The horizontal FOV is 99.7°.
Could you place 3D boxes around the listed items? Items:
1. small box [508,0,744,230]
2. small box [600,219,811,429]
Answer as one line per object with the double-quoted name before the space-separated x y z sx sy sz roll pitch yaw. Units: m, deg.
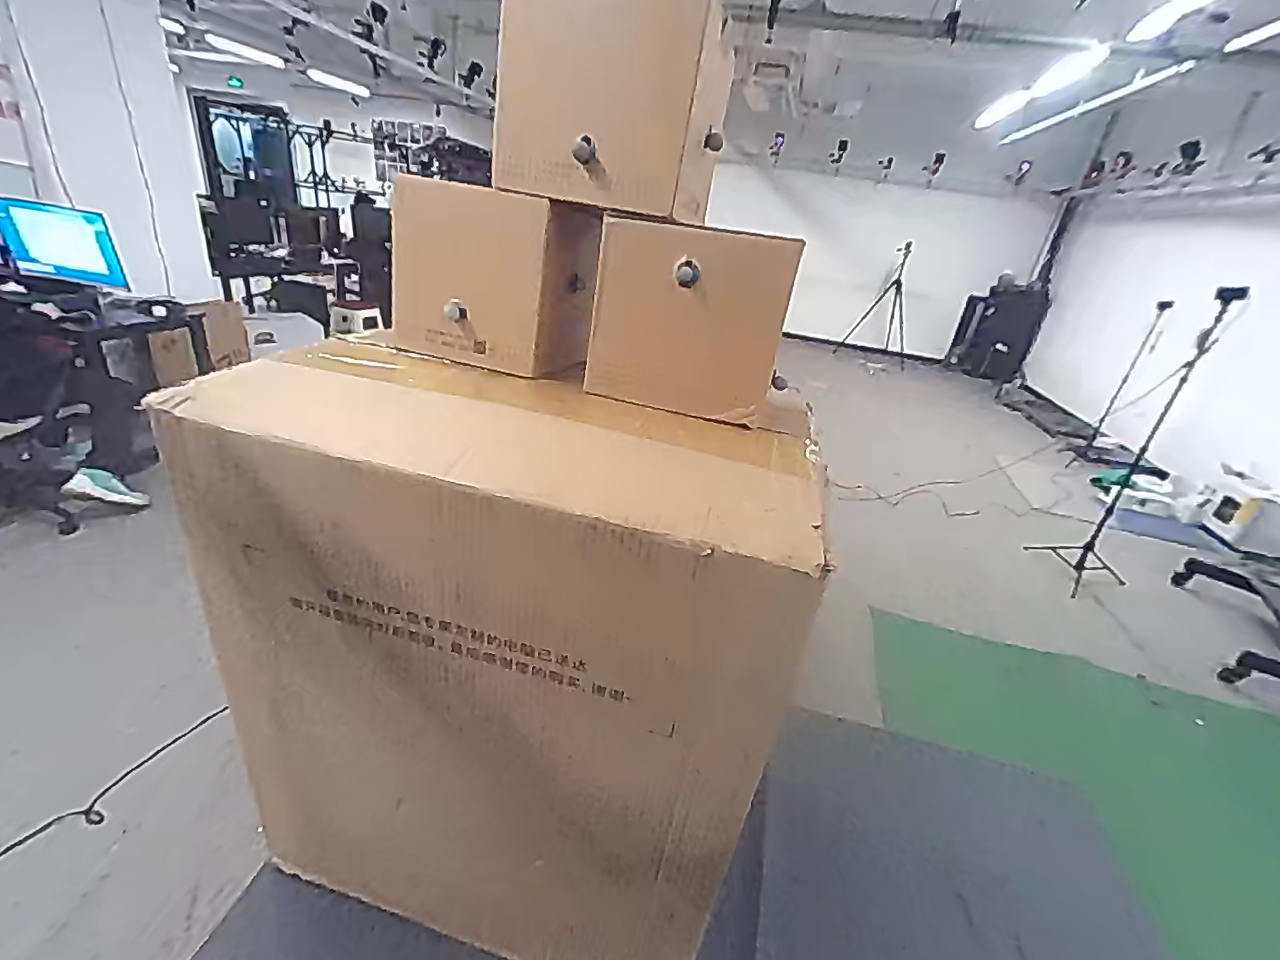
"small box" -0.011 -0.340 0.529 0.179 0.176 0.168 15 22 10
"small box" 0.068 -0.162 0.567 0.179 0.176 0.168 14 23 10
